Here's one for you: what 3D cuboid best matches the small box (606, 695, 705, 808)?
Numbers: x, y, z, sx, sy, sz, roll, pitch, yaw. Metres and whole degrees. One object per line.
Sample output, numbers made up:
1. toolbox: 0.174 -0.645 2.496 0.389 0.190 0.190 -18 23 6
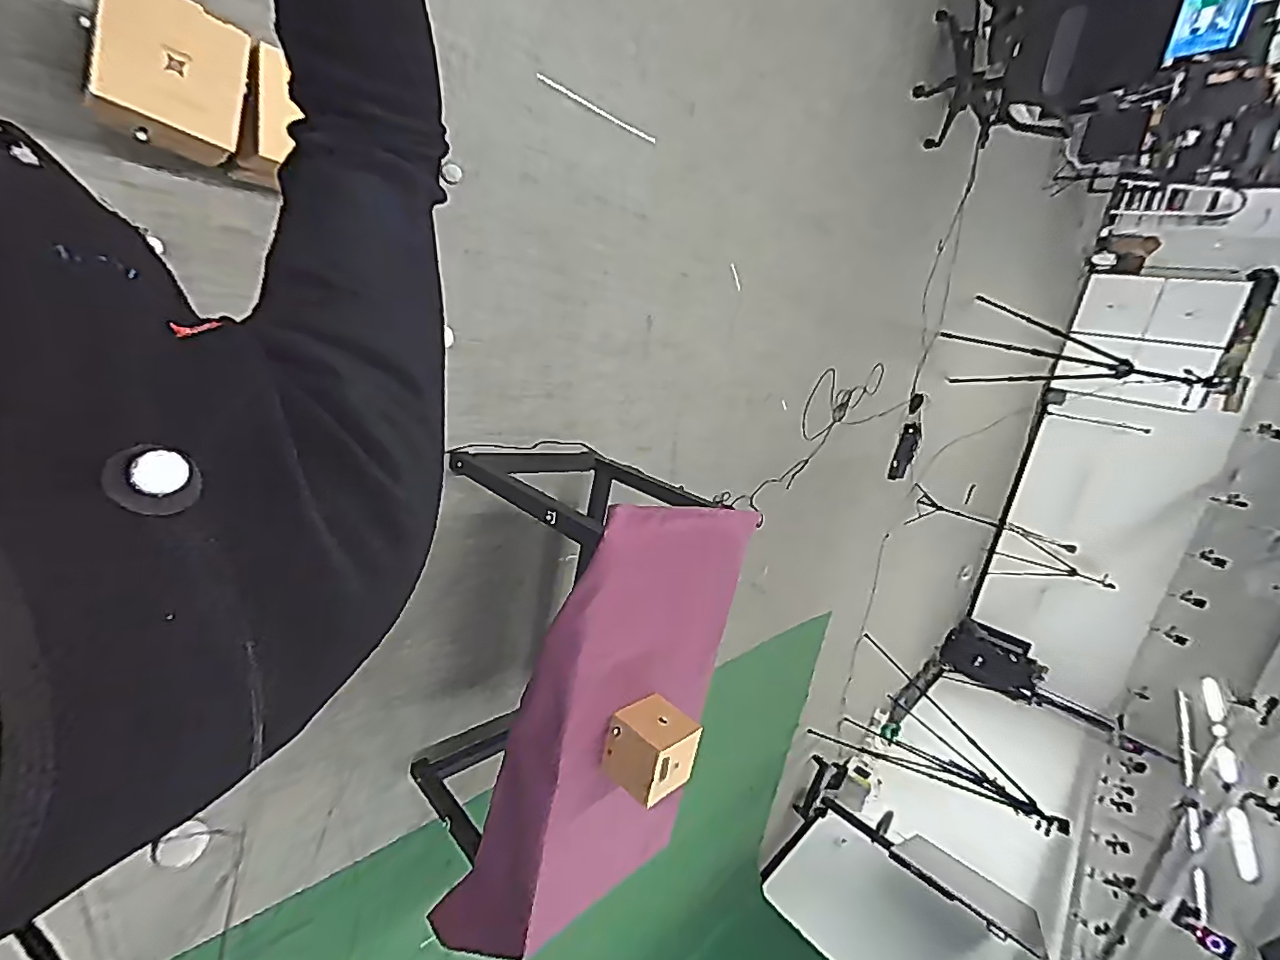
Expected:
1. small box: 0.036 0.693 1.403 0.179 0.176 0.168 -1 108 -48
